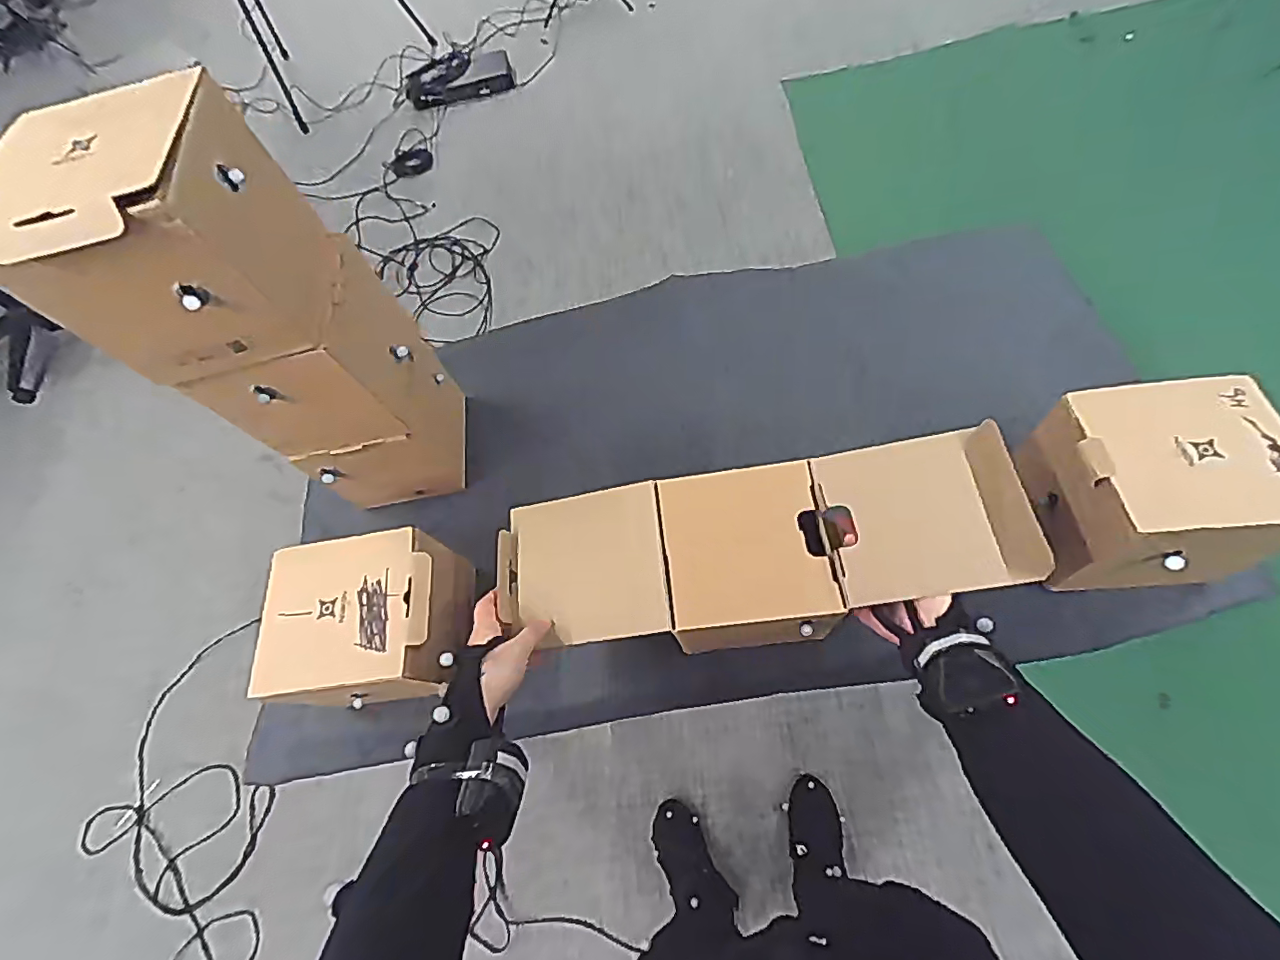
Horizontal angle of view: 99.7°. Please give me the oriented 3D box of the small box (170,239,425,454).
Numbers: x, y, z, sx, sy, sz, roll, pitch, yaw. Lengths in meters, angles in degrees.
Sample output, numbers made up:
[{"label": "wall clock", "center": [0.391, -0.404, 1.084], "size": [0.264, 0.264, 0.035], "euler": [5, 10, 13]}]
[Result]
[{"label": "small box", "center": [-0.382, -0.145, 0.639], "size": [0.179, 0.176, 0.168], "euler": [-10, 65, 4]}]

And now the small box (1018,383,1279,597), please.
[{"label": "small box", "center": [0.544, 0.021, 0.580], "size": [0.179, 0.176, 0.168], "euler": [-5, 60, 8]}]

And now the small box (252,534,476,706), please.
[{"label": "small box", "center": [-0.315, 0.178, 0.659], "size": [0.179, 0.176, 0.168], "euler": [-9, 64, 6]}]

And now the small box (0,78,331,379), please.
[{"label": "small box", "center": [-0.413, -0.212, 0.494], "size": [0.168, 0.176, 0.179], "euler": [-13, 63, 2]}]
